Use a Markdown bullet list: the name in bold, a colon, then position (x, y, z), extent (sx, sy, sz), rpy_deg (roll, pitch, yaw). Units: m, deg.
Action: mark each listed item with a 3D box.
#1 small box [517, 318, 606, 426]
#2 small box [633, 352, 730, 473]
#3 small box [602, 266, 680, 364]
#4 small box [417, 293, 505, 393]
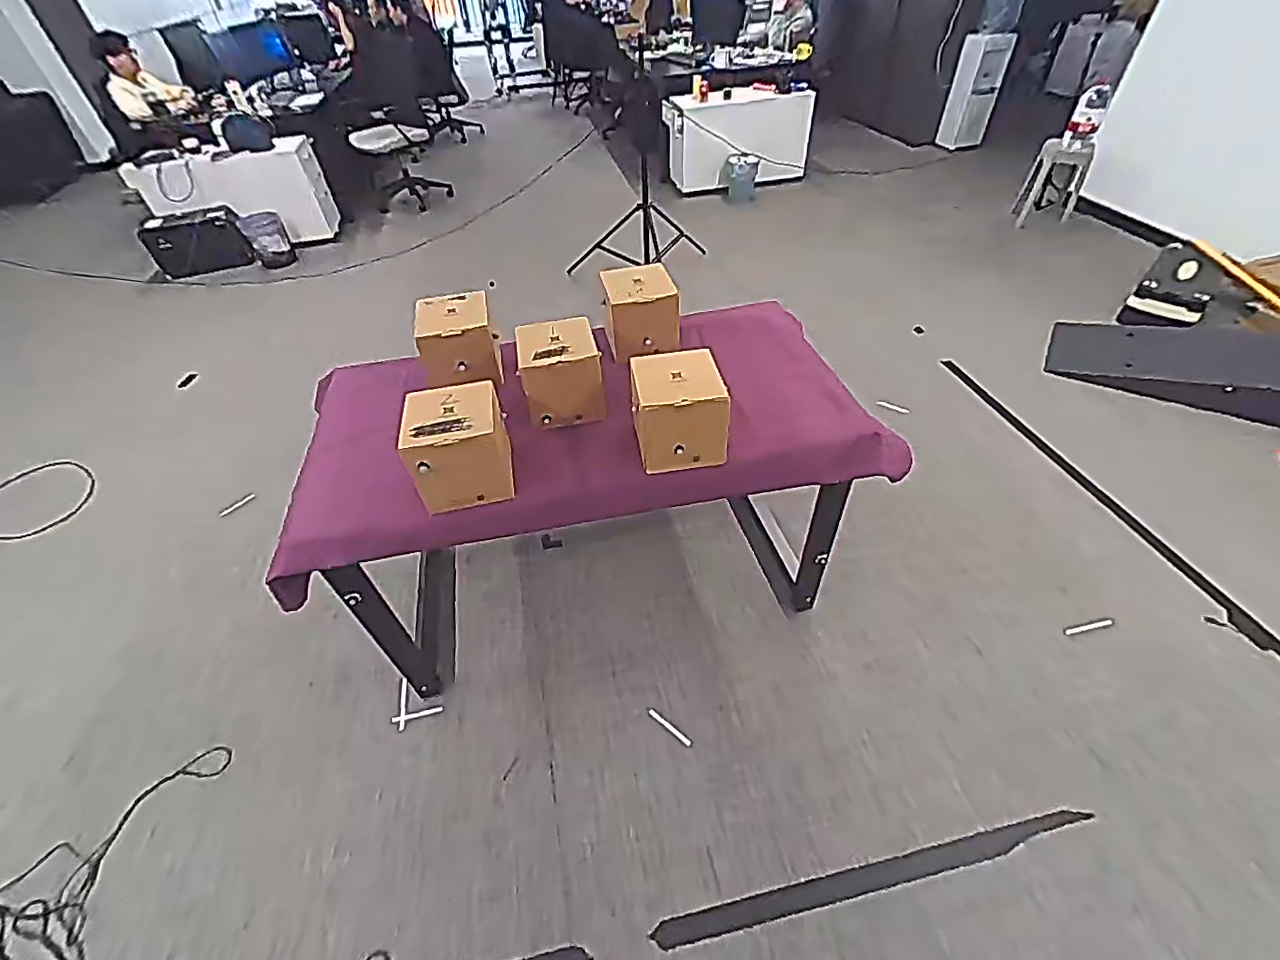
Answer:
- **small box**: position (-0.174, -0.236, 1.216), extent (0.168, 0.176, 0.179), rpy_deg (-11, 45, -7)
- **small box**: position (0.079, -0.138, 1.101), extent (0.168, 0.176, 0.179), rpy_deg (-8, 44, -4)
- **small box**: position (0.001, -0.423, 1.385), extent (0.168, 0.176, 0.179), rpy_deg (-12, 47, -6)
- **small box**: position (-0.432, -0.328, 1.322), extent (0.168, 0.176, 0.179), rpy_deg (-11, 48, -8)
